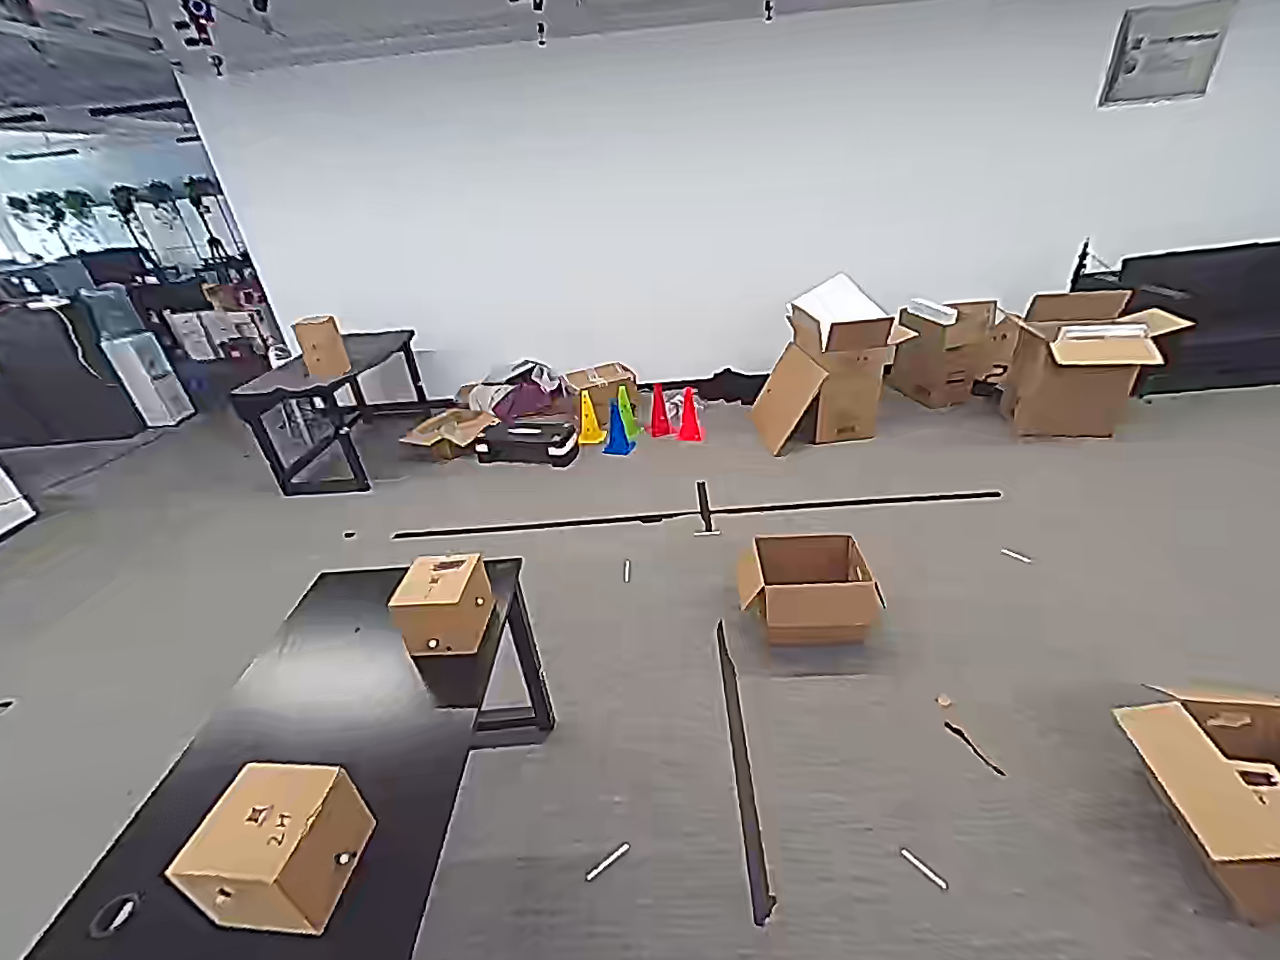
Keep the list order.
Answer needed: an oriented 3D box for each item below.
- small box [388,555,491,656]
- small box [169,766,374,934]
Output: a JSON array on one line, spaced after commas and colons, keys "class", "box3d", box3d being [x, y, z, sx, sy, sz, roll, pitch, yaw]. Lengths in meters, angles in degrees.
[{"class": "small box", "box3d": [-0.474, 0.303, 1.313, 0.168, 0.176, 0.179, -4, 32, 5]}, {"class": "small box", "box3d": [-0.564, 0.583, 0.856, 0.179, 0.176, 0.168, -2, 31, 7]}]
